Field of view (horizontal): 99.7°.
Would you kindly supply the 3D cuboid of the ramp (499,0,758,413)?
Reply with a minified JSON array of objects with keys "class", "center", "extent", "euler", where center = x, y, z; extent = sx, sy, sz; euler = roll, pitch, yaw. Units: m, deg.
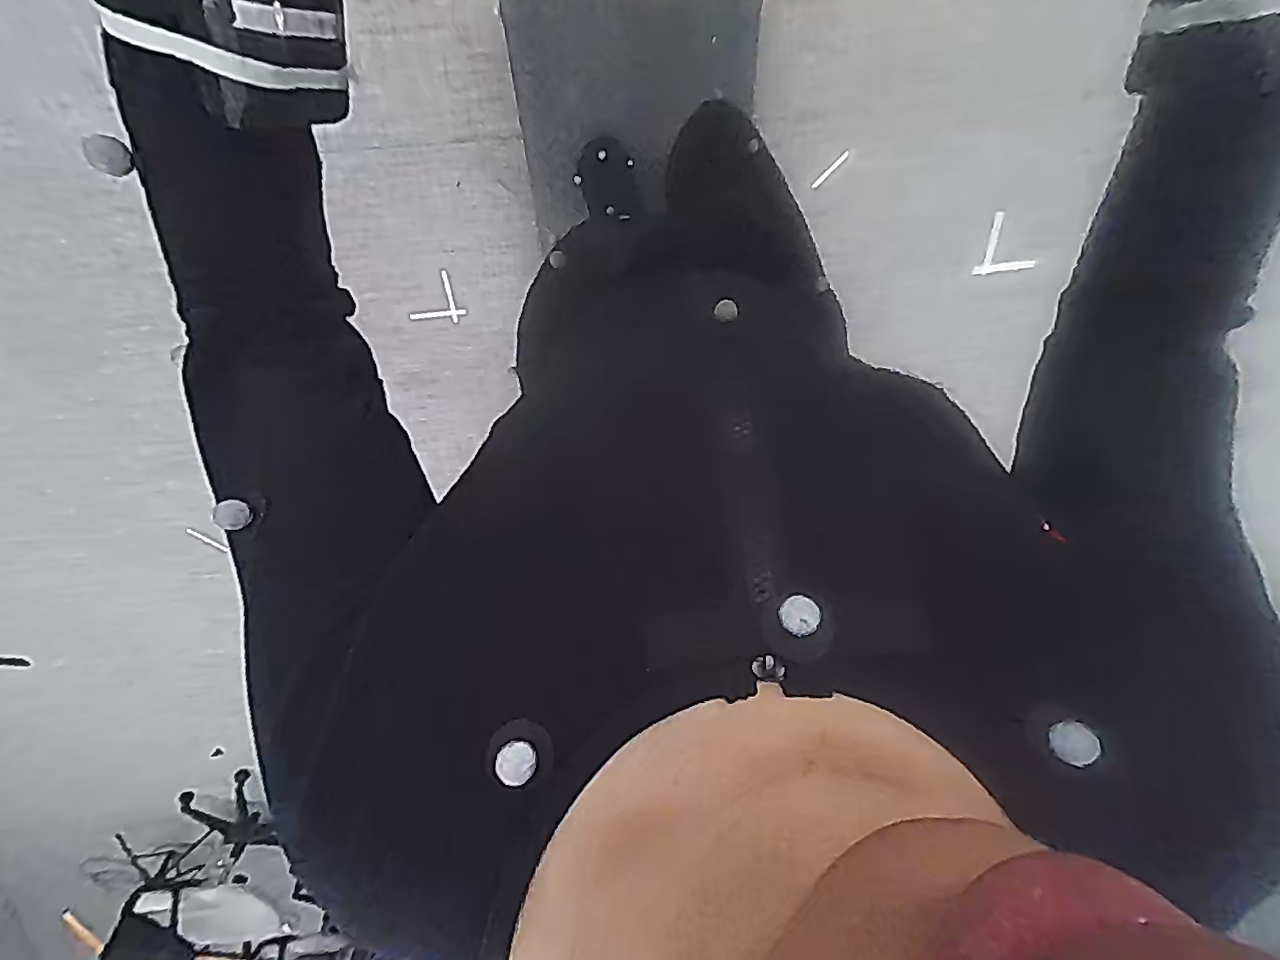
[{"class":"ramp","center":[0.007,-0.585,1.321],"extent":[0.509,0.206,0.991],"euler":[-7,124,-1]}]
